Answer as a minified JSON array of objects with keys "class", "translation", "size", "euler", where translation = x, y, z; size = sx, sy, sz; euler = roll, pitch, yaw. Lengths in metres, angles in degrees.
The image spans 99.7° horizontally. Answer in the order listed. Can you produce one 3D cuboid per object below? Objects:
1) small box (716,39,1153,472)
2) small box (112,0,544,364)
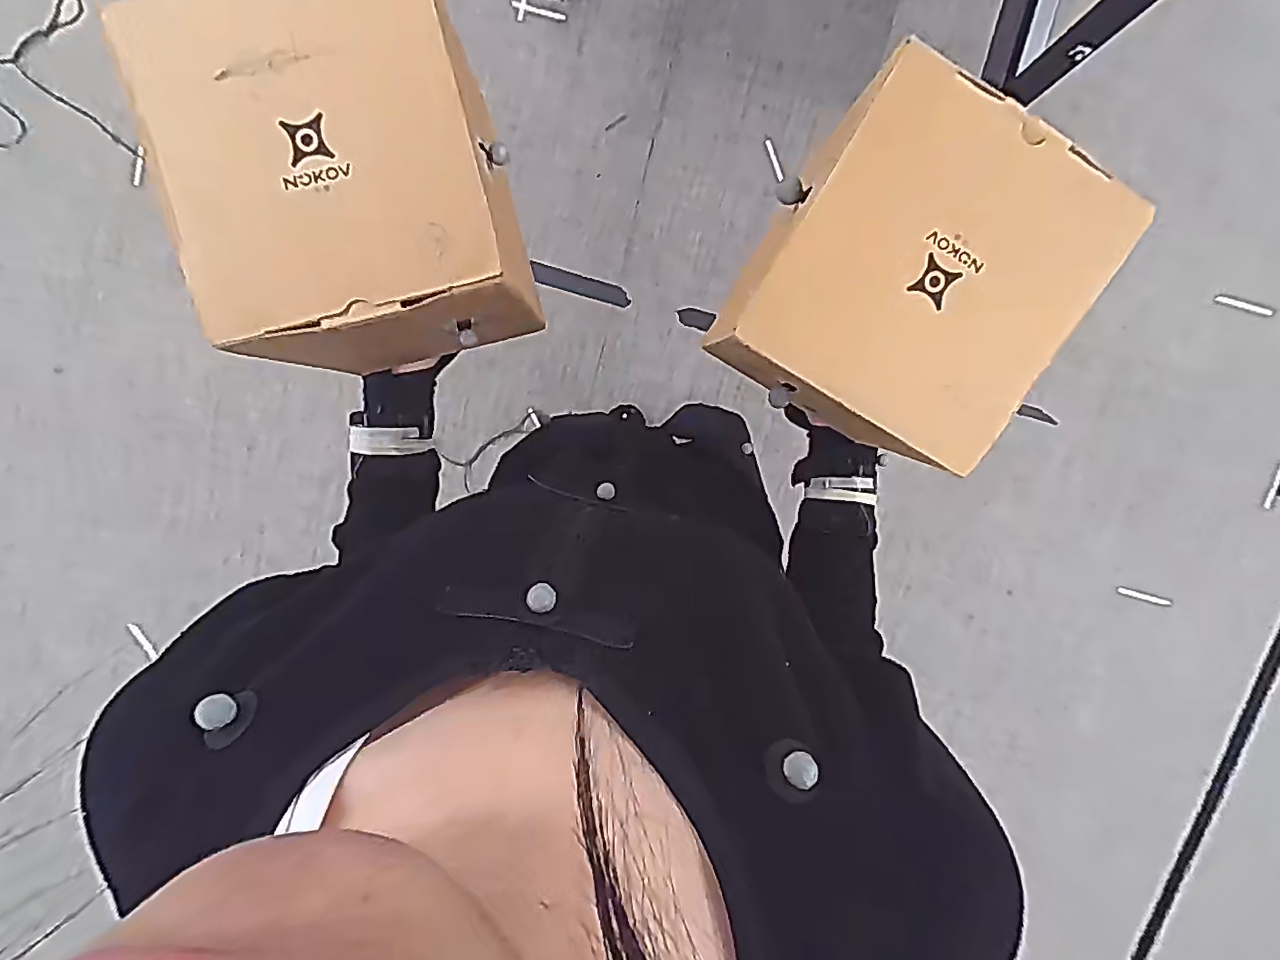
[{"class":"small box","translation":[0.167,-0.130,0.378],"size":[0.168,0.176,0.179],"euler":[30,99,-5]},{"class":"small box","translation":[-0.171,-0.182,0.362],"size":[0.168,0.176,0.179],"euler":[-15,96,-2]}]
